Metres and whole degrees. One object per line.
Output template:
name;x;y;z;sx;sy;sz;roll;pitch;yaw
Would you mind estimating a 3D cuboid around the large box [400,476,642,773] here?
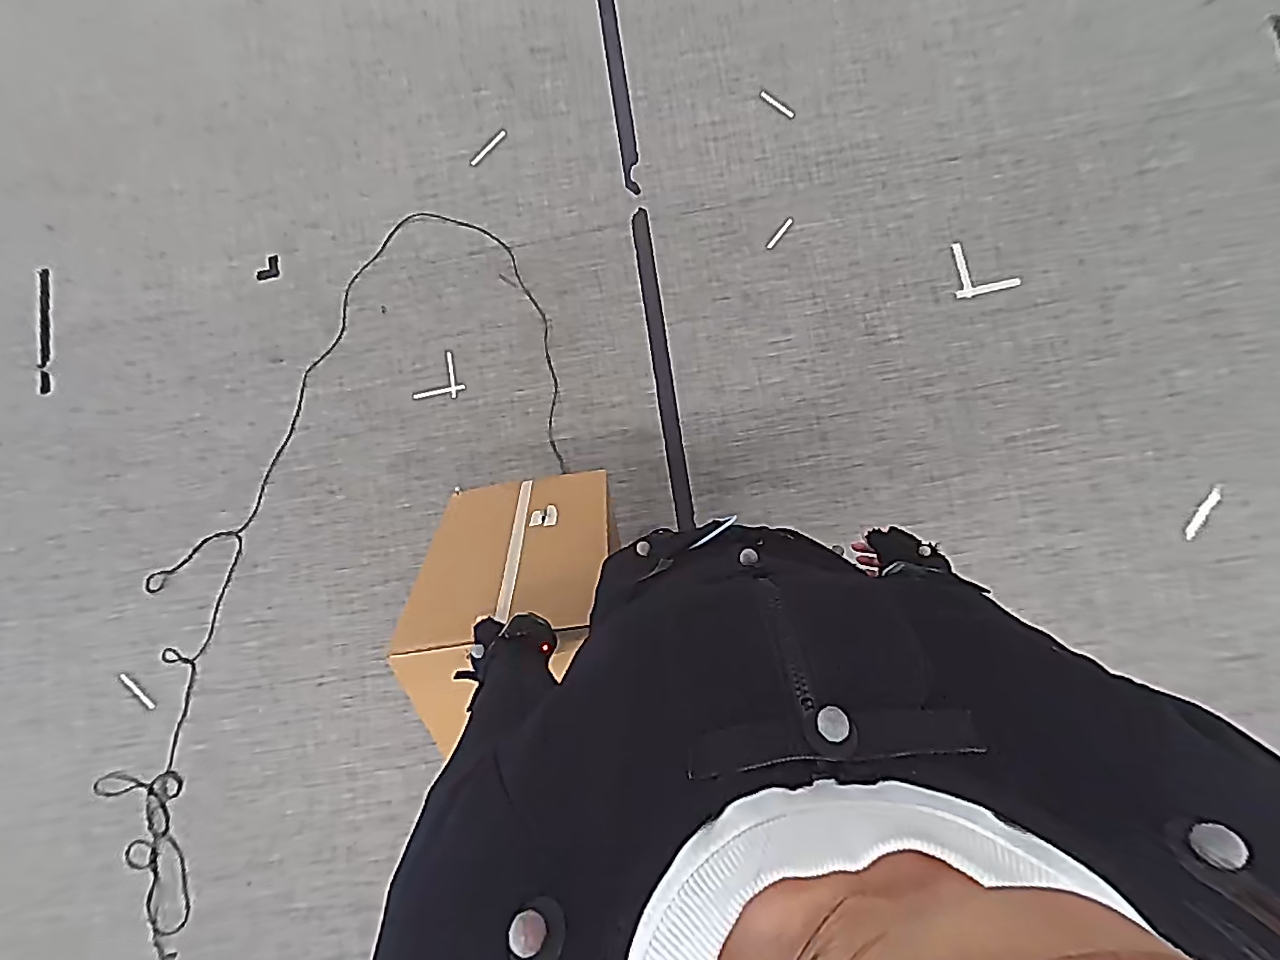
large box;-0.182;0.244;0.992;0.320;0.408;0.320;-8;122;0
